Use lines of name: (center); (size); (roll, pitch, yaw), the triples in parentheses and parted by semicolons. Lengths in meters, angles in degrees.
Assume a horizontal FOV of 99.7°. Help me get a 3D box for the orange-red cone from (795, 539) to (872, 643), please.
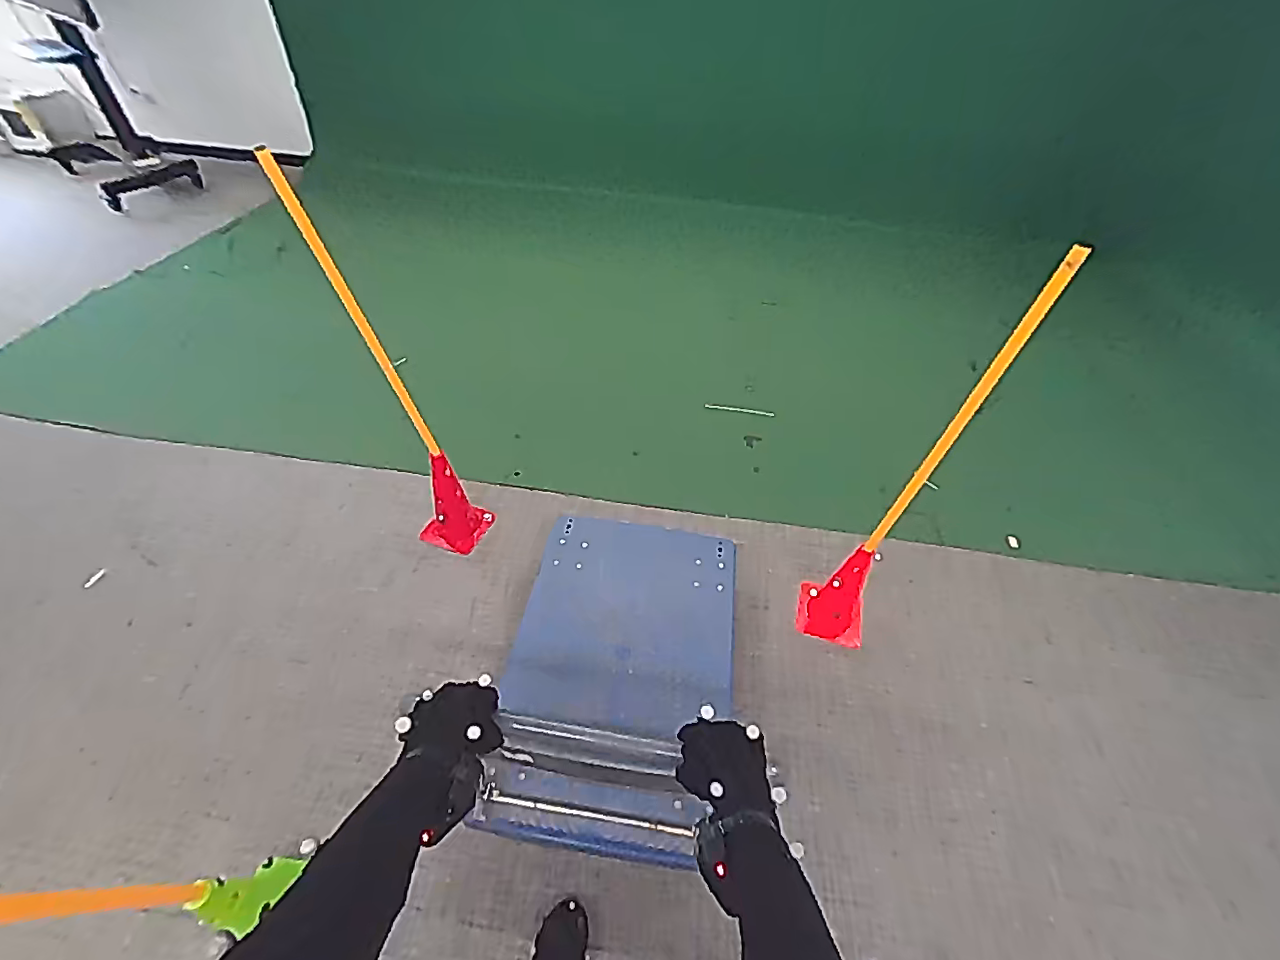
orange-red cone: (0.617, 0.301, 1.621); (0.198, 0.360, 0.199); (15, 48, 11)
